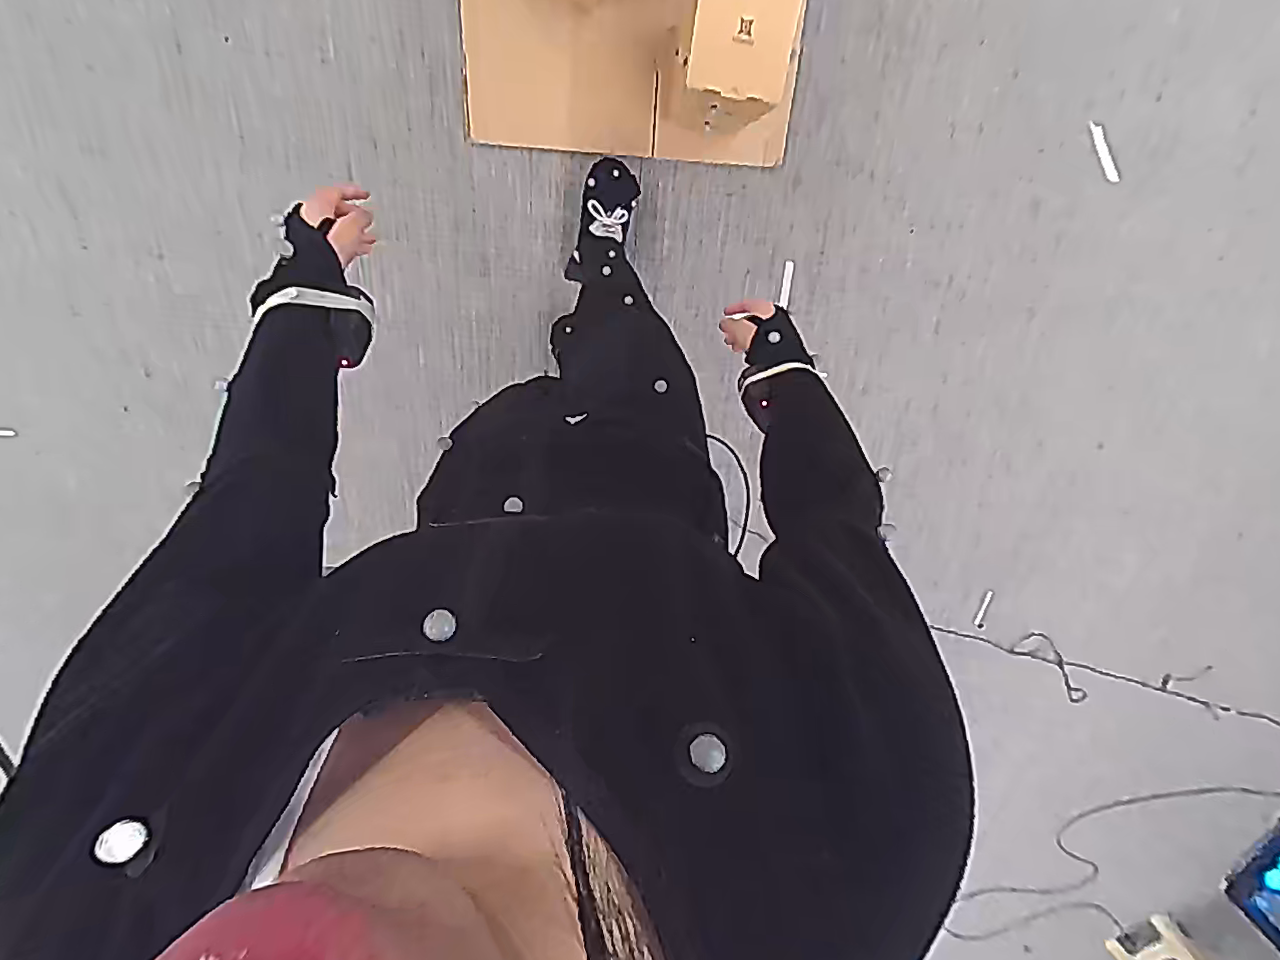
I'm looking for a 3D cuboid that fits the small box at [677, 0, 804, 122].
[{"bbox_3d":[0.163,-0.742,0.930,0.168,0.176,0.179,6,116,-6],"label":"small box"}]
